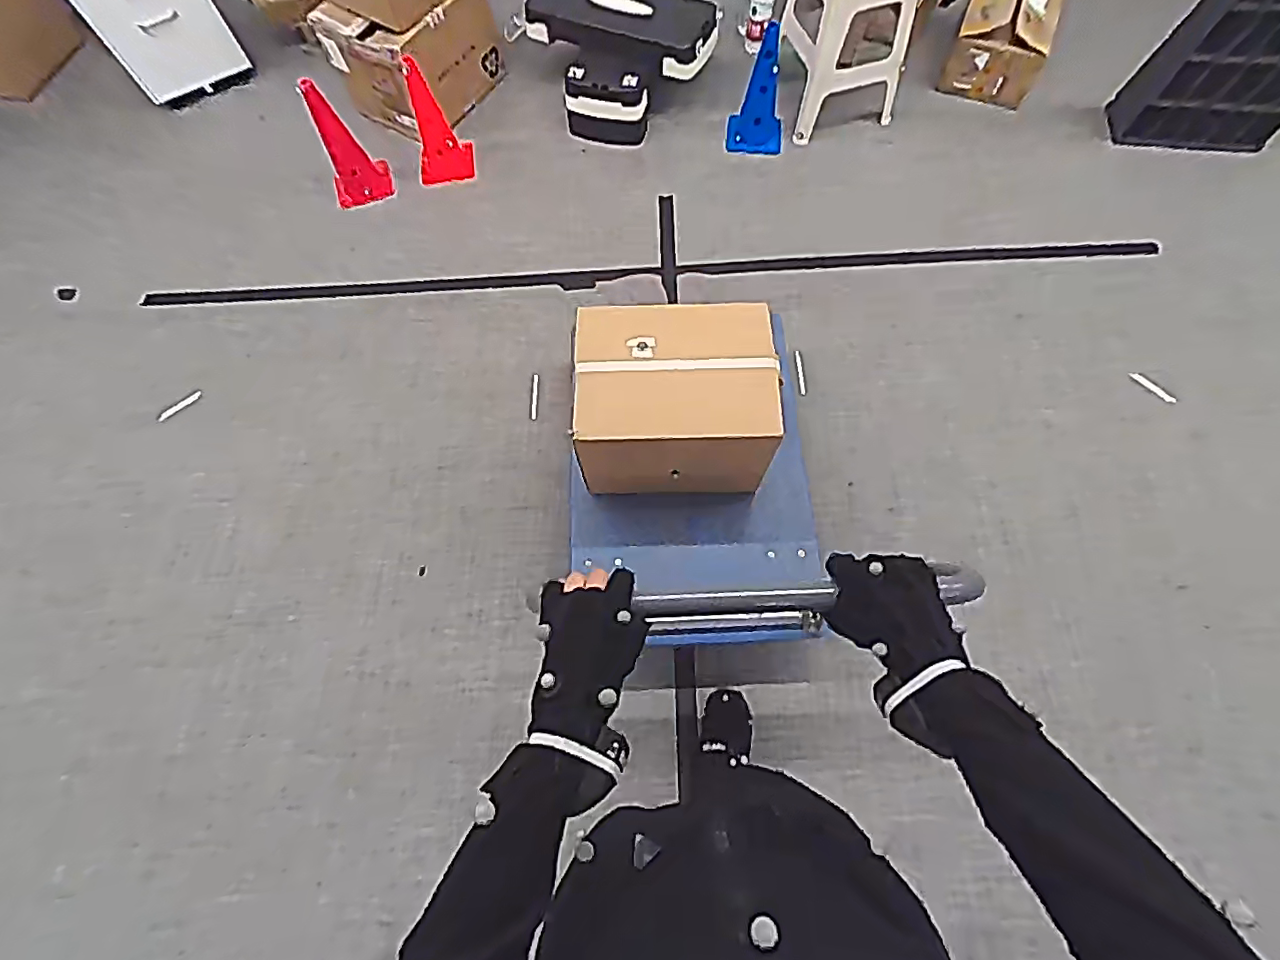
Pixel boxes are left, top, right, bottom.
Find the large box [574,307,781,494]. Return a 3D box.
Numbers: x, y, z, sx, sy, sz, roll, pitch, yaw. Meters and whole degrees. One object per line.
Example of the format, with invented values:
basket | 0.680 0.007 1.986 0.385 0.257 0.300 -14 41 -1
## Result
large box | 0.075 -0.163 1.225 0.408 0.320 0.320 -1 69 2
